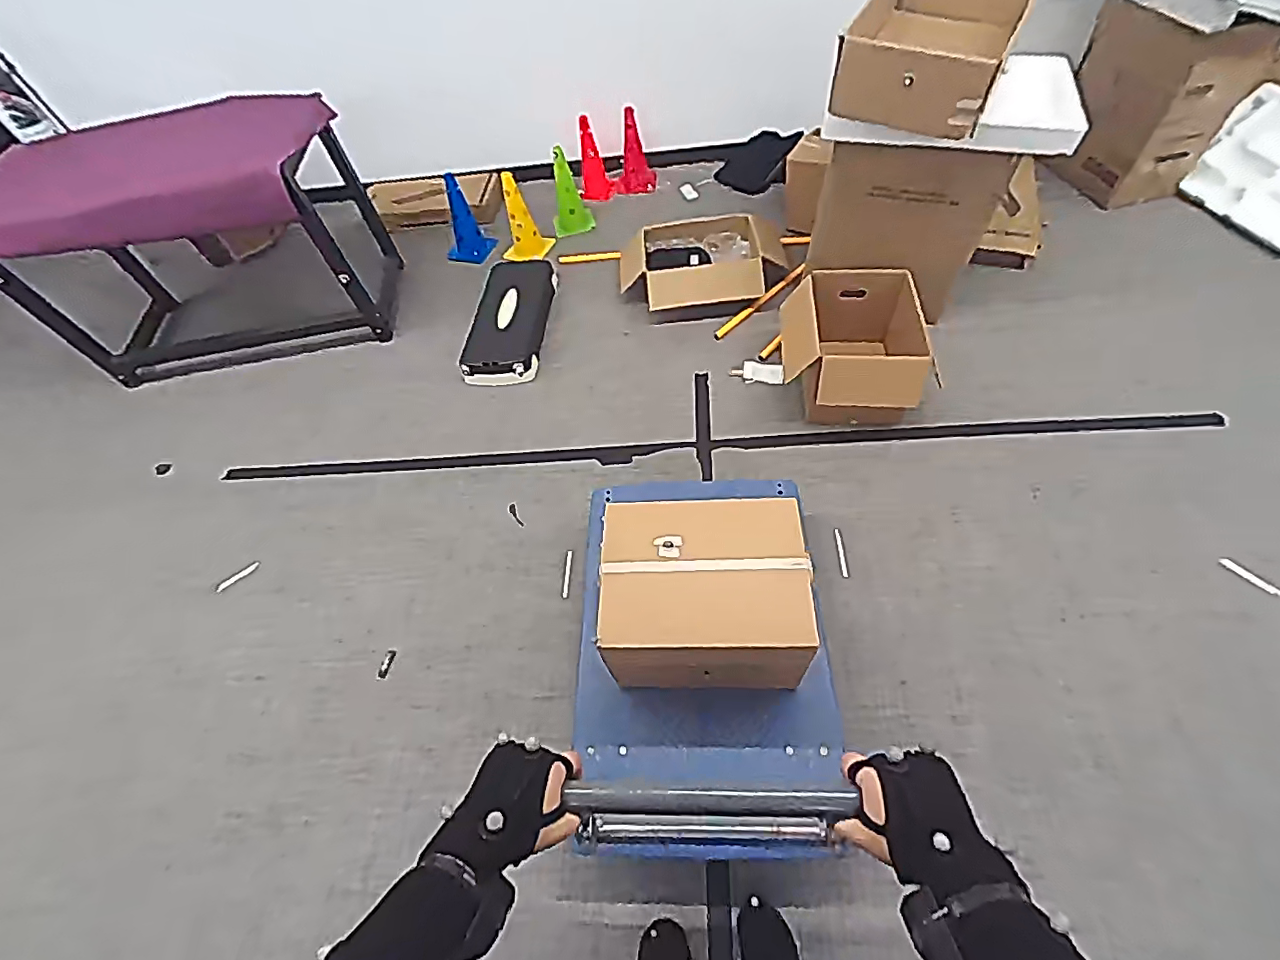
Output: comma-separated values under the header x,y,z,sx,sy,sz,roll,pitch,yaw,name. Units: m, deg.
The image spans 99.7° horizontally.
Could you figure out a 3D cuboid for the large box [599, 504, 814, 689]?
x,y,z,sx,sy,sz,roll,pitch,yaw,name
0.140,0.272,1.204,0.408,0.320,0.320,-3,55,6,large box
